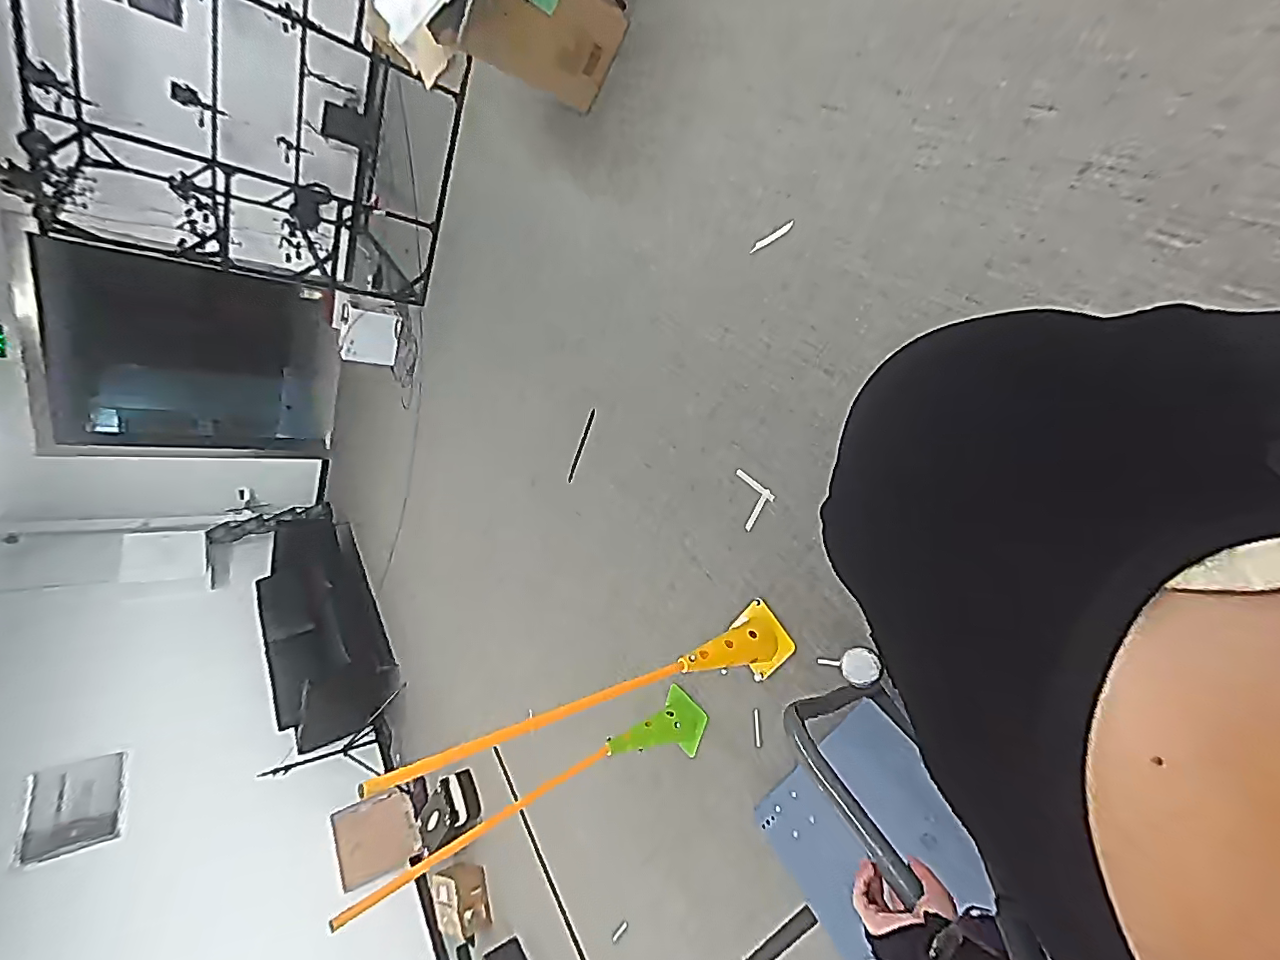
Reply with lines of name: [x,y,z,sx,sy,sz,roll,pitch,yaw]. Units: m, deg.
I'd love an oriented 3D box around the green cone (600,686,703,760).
green cone: [0.016,0.895,1.895,0.200,0.368,0.202,31,112,45]
